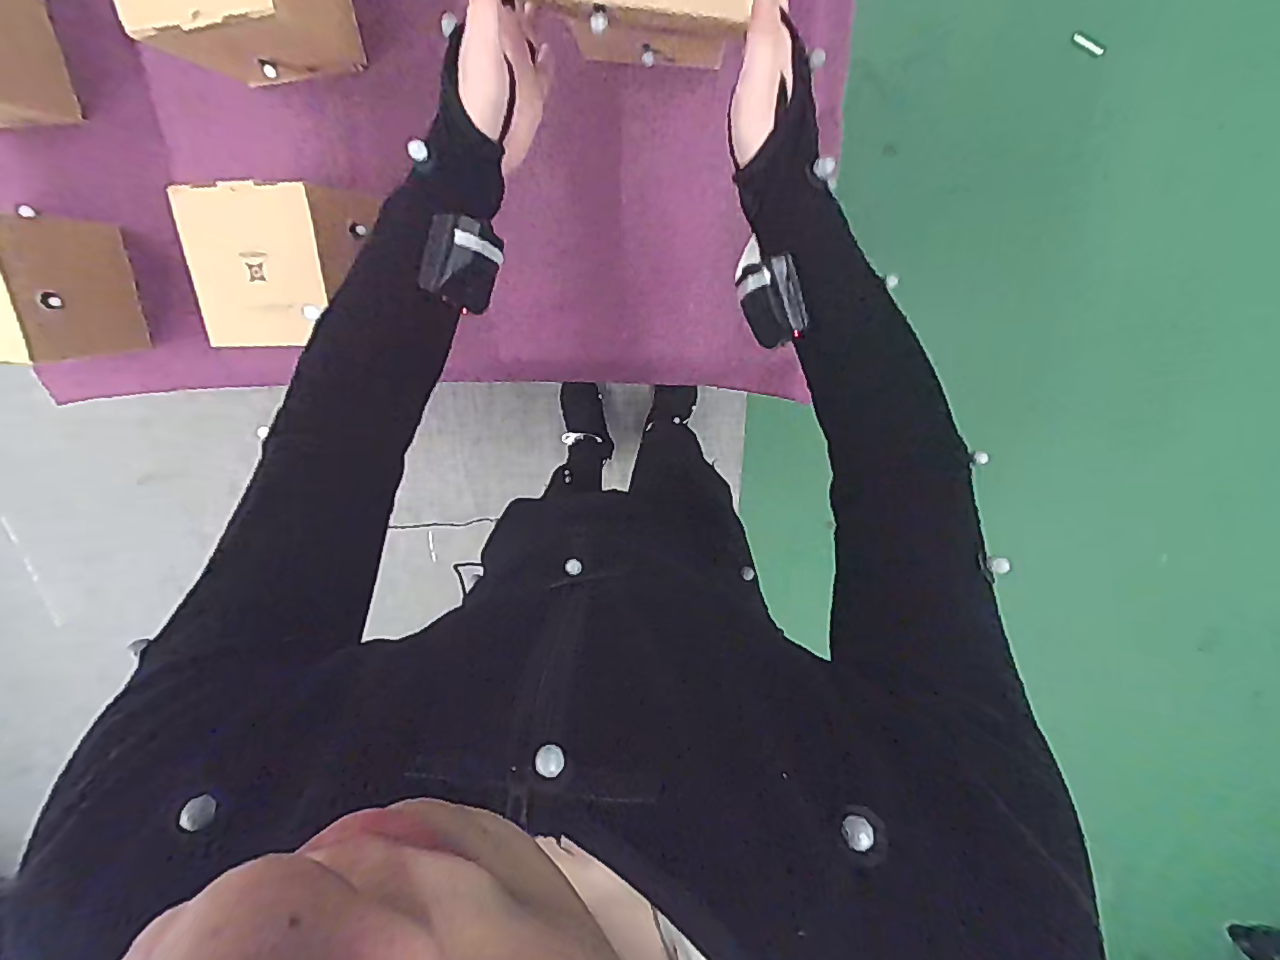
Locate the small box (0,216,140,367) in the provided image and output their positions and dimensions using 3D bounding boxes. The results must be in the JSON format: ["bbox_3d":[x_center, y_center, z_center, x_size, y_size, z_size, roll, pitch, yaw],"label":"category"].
[{"bbox_3d":[-0.831,-0.254,0.721,0.168,0.176,0.179,3,110,2],"label":"small box"}]

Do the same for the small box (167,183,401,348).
[{"bbox_3d":[-0.432,-0.267,0.690,0.168,0.176,0.179,1,111,4],"label":"small box"}]

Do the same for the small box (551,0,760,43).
[{"bbox_3d":[0.011,-0.415,0.354,0.168,0.176,0.179,9,126,1],"label":"small box"}]

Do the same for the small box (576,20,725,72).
[{"bbox_3d":[0.016,-0.548,0.544,0.168,0.176,0.179,6,113,3],"label":"small box"}]

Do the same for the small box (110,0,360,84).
[{"bbox_3d":[-0.436,-0.557,0.575,0.168,0.176,0.179,-4,112,5],"label":"small box"}]
